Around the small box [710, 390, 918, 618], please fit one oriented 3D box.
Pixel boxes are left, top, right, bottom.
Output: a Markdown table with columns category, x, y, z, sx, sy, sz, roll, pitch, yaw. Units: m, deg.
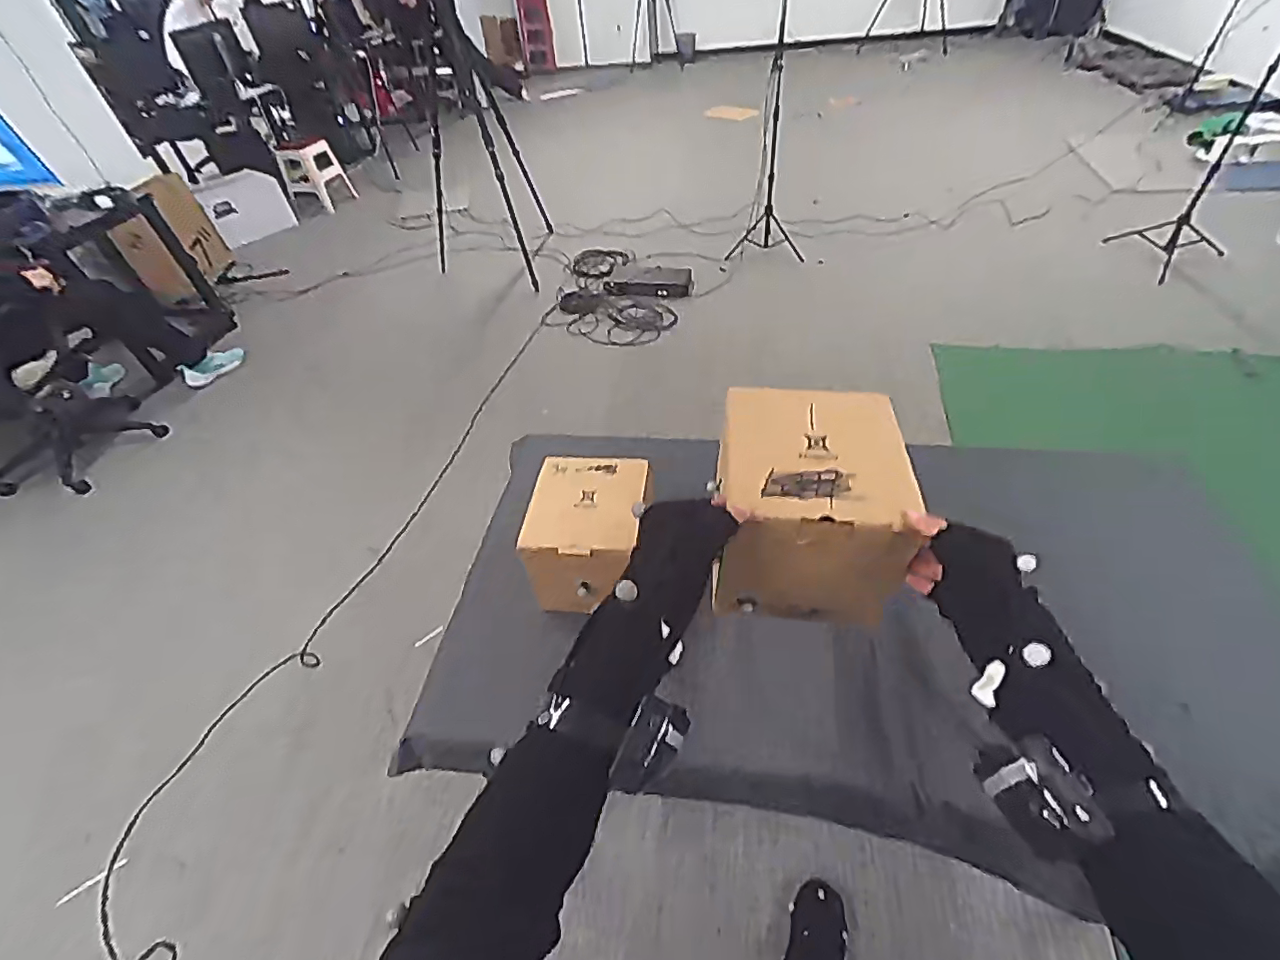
| category | x | y | z | sx | sy | sz | roll | pitch | yaw |
| --- | --- | --- | --- | --- | --- | --- | --- | --- | --- |
| small box | 0.162 | 0.026 | 0.565 | 0.168 | 0.176 | 0.179 | 3 | 47 | 6 |

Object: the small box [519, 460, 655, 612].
| category | x | y | z | sx | sy | sz | roll | pitch | yaw |
| --- | --- | --- | --- | --- | --- | --- | --- | --- | --- |
| small box | -0.069 | 0.088 | 0.844 | 0.168 | 0.176 | 0.179 | 2 | 47 | 9 |
